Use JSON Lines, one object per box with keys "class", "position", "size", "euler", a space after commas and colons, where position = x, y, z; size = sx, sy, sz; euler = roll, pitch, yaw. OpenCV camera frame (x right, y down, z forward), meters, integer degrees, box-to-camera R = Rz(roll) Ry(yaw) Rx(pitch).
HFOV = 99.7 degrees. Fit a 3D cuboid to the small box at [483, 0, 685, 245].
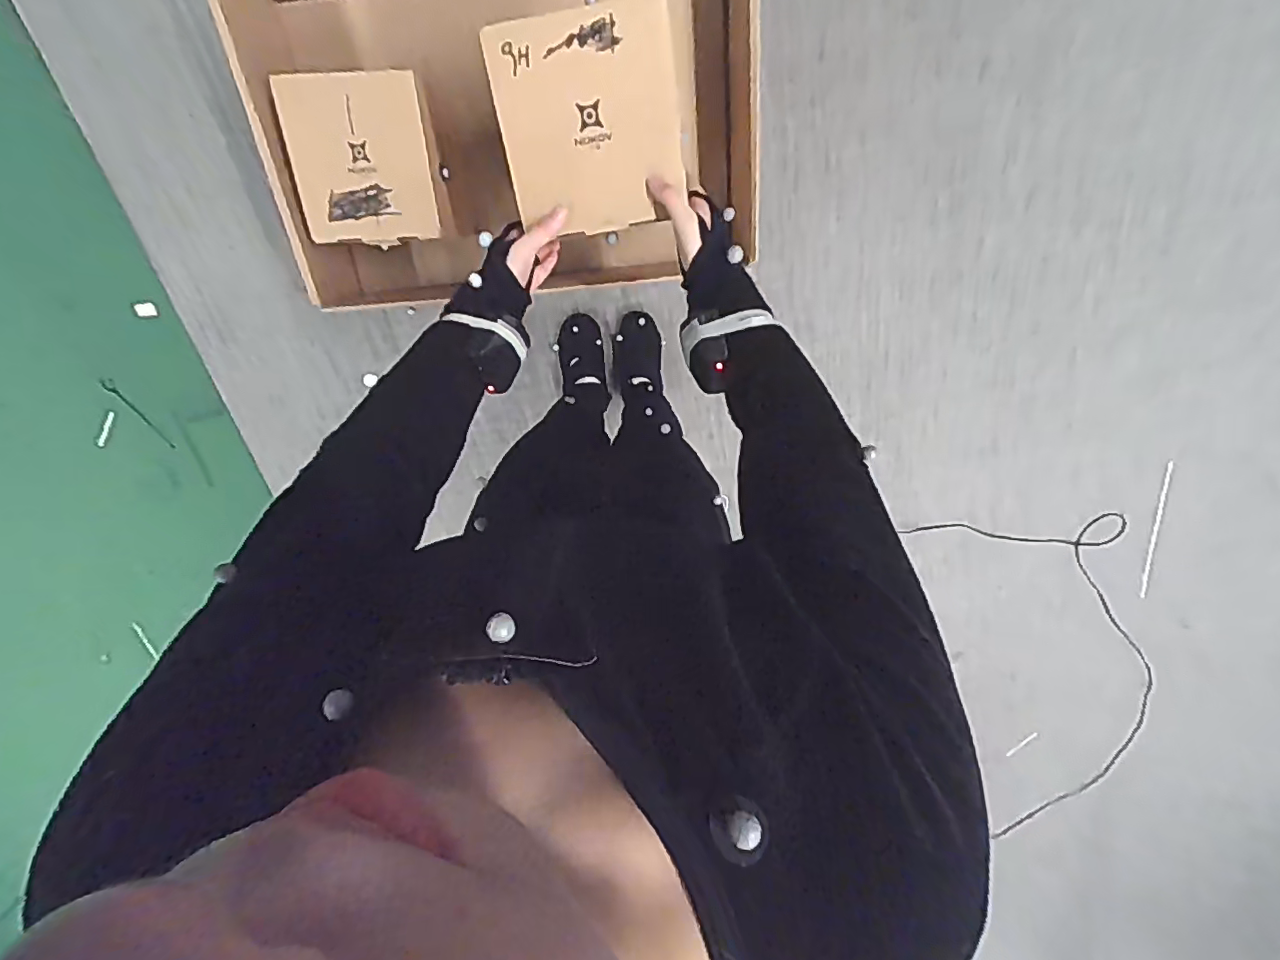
{"class": "small box", "position": [-0.045, -0.358, 0.571], "size": [0.168, 0.176, 0.179], "euler": [-7, 116, 3]}
